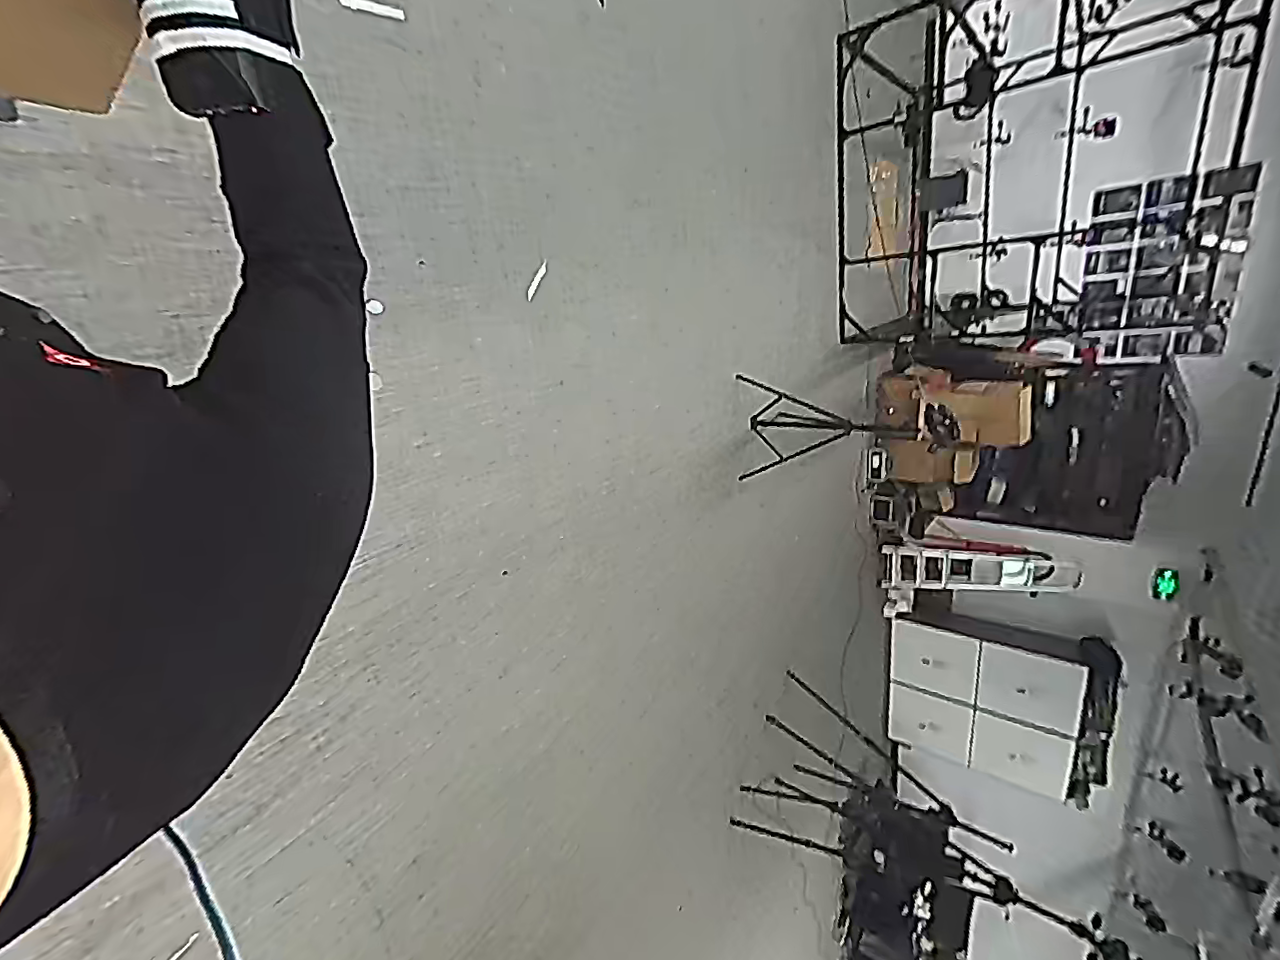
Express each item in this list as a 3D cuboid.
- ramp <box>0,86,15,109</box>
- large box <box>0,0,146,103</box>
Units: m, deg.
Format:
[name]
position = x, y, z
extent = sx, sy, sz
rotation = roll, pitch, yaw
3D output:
[ramp]
position = -1.247, -1.023, 0.576
extent = 0.509, 0.206, 0.991
rotation = -31, 120, -45
[large box]
position = -0.524, -0.429, 0.230
extent = 0.408, 0.320, 0.320
rotation = -21, 112, -47
